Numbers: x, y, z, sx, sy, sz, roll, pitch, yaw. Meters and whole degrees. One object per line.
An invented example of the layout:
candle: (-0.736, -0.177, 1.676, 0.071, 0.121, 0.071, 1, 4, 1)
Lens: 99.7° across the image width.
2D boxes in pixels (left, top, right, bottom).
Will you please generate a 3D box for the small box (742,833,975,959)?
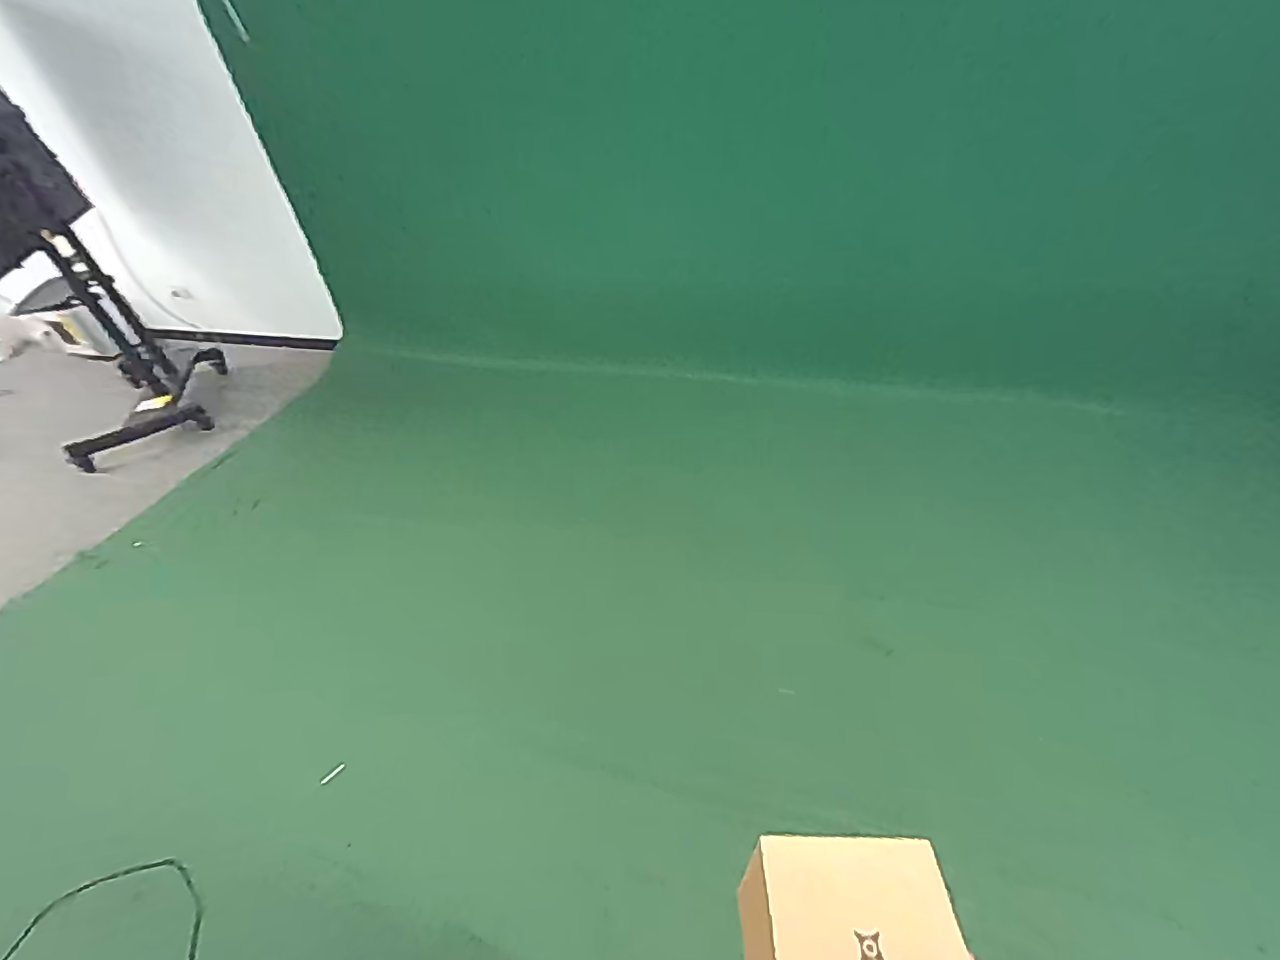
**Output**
small box: (0.193, 0.455, 0.499, 0.168, 0.176, 0.179, 1, 41, 1)
